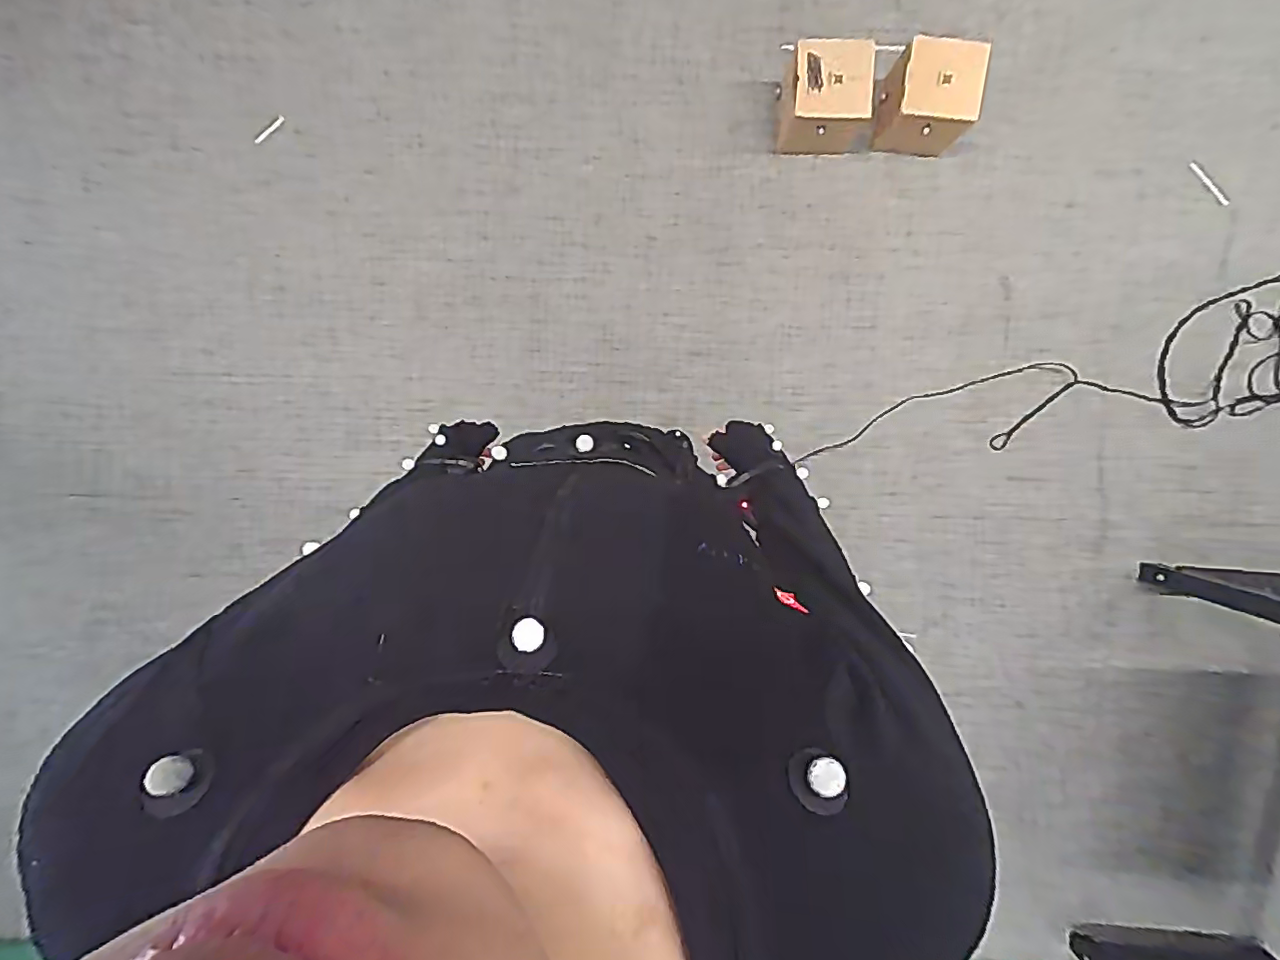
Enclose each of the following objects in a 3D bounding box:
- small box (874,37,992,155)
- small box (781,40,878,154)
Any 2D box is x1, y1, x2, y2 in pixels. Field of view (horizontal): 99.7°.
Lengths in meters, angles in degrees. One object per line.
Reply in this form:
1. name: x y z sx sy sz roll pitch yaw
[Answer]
1. small box: 0.686 -0.898 1.282 0.179 0.176 0.168 7 97 2
2. small box: 0.441 -0.901 1.287 0.179 0.176 0.168 1 96 1
